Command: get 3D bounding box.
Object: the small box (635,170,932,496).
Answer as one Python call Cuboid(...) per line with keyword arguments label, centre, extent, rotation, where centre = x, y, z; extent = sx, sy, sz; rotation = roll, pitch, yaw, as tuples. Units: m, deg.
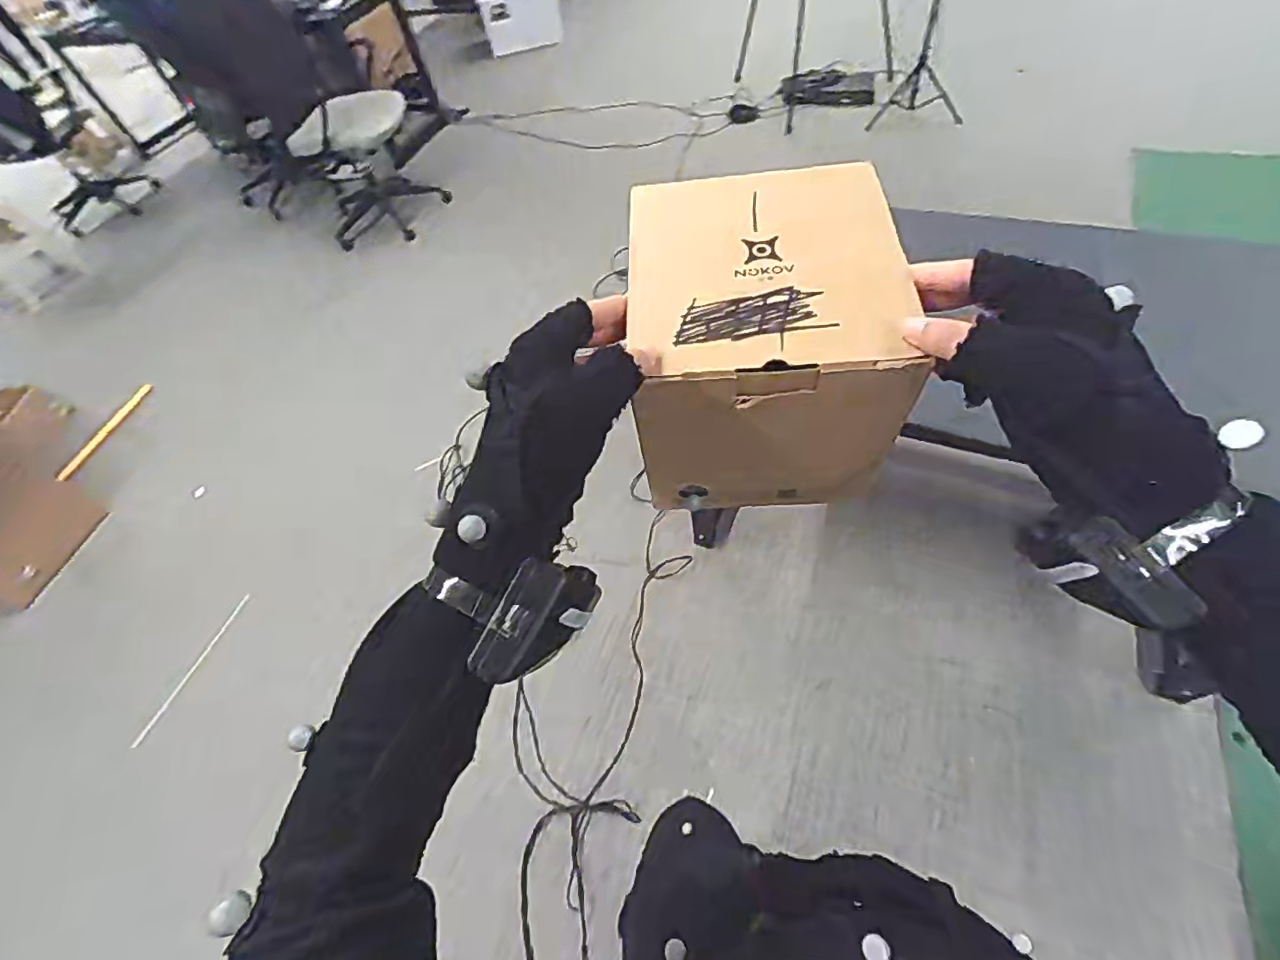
Cuboid(label="small box", centre=(0.090, -0.096, 0.409), extent=(0.168, 0.176, 0.179), rotation=(-2, 60, 6))
